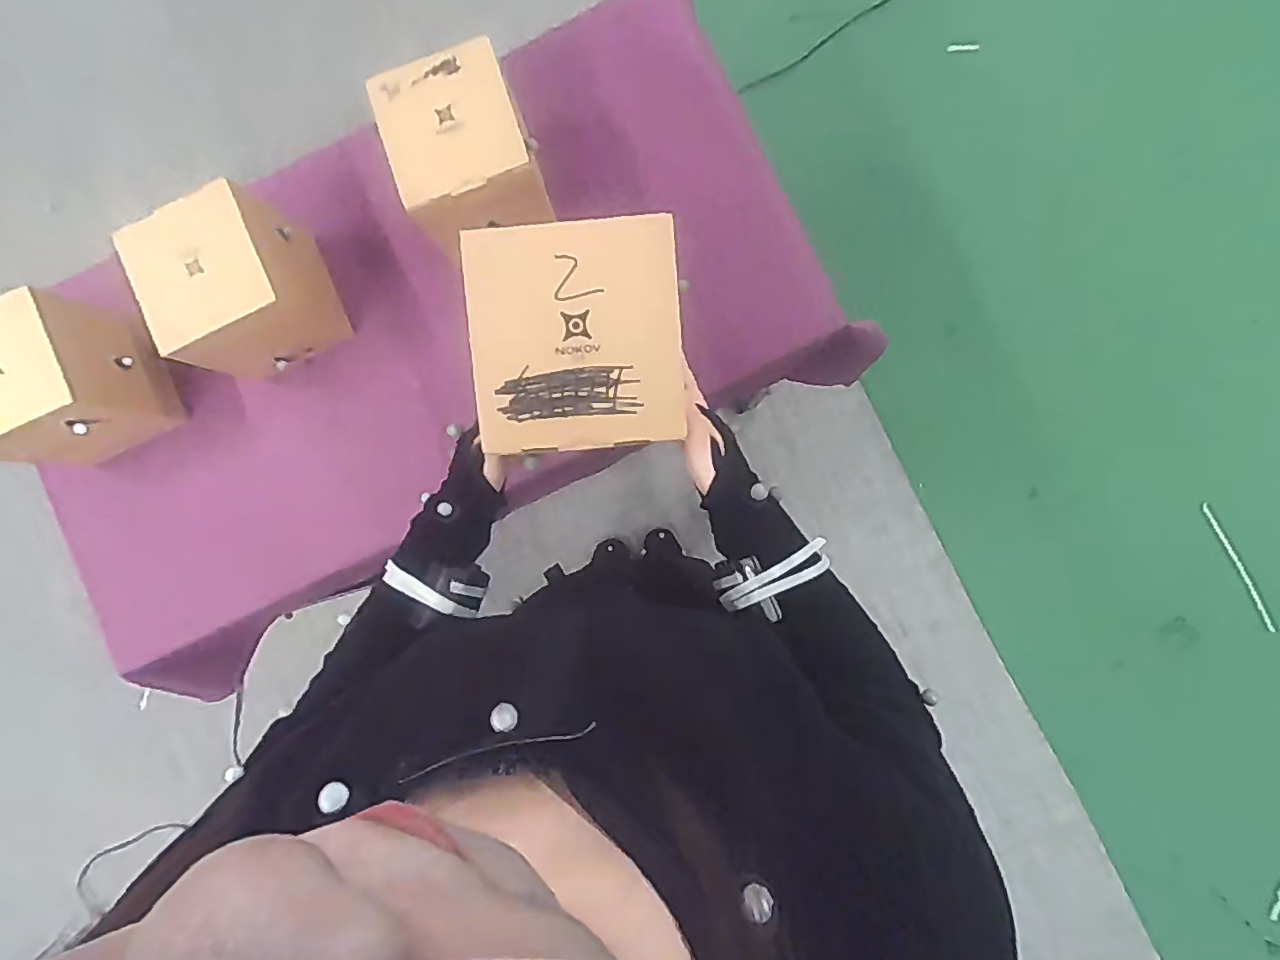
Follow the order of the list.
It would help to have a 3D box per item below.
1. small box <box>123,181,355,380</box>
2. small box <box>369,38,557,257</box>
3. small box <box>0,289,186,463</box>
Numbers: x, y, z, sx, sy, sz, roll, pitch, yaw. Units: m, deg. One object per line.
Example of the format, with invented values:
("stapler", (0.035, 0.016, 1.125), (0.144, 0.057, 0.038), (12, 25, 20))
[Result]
("small box", (-0.543, -0.263, 0.756), (0.168, 0.176, 0.179), (-24, 87, 3))
("small box", (-0.227, -0.431, 0.739), (0.168, 0.176, 0.179), (-18, 87, 3))
("small box", (-0.799, -0.135, 0.766), (0.179, 0.176, 0.168), (-24, 86, 2))
